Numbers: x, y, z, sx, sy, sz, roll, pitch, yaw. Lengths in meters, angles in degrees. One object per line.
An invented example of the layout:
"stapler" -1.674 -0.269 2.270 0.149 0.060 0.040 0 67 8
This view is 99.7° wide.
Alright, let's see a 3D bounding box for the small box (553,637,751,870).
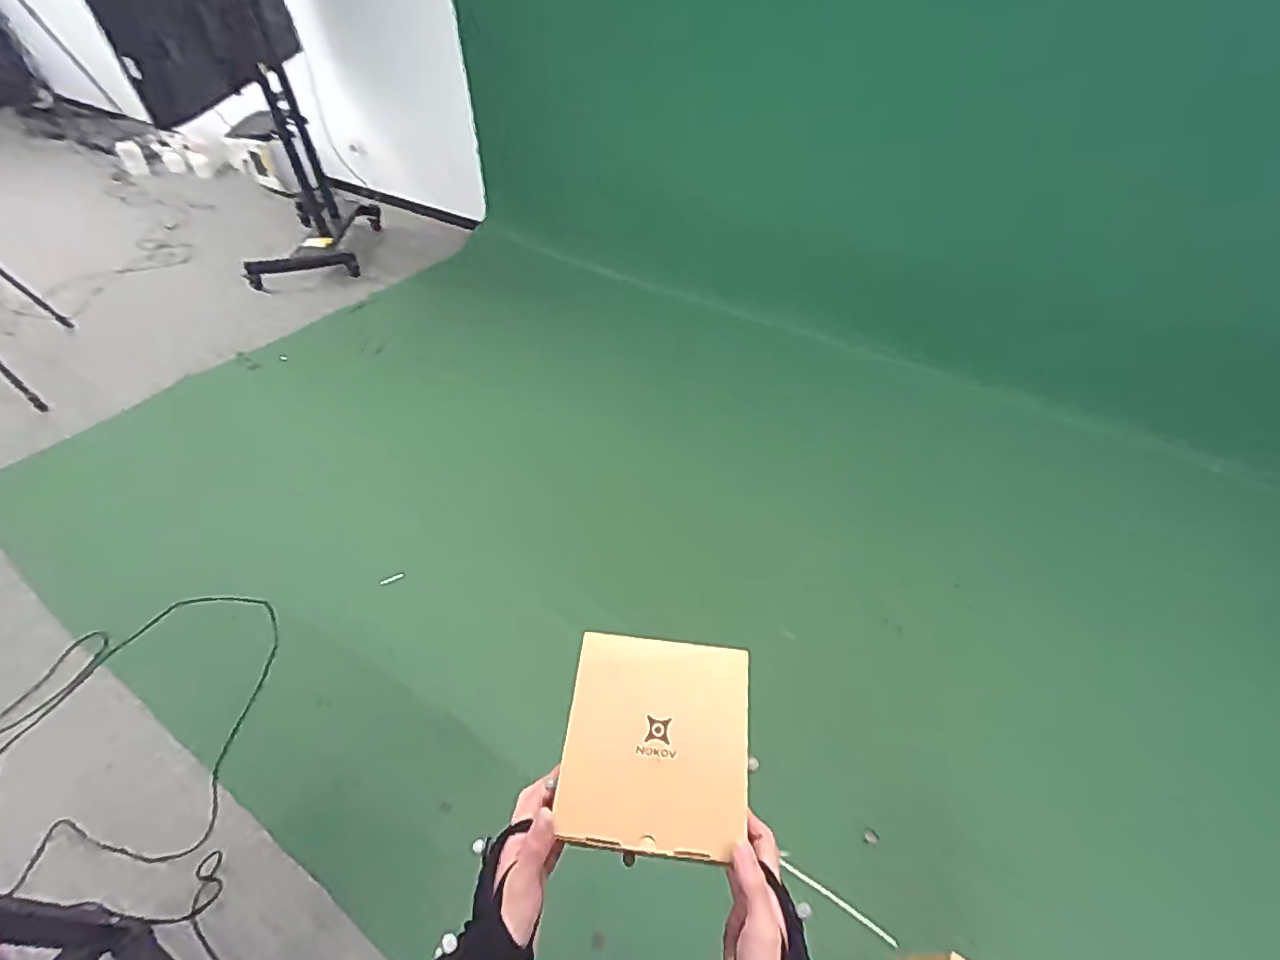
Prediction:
"small box" 0.014 0.280 0.550 0.168 0.176 0.179 5 56 2
